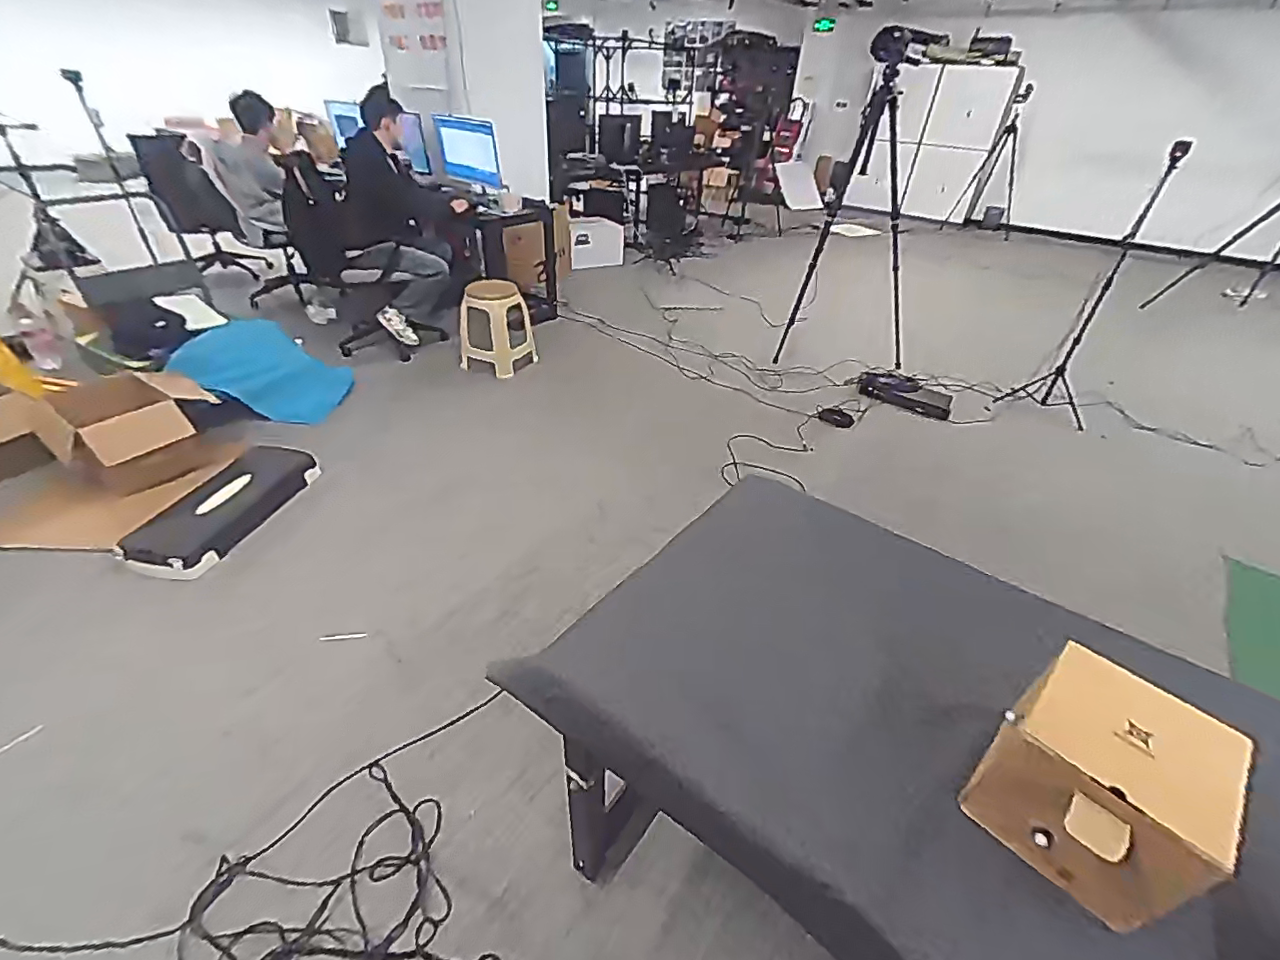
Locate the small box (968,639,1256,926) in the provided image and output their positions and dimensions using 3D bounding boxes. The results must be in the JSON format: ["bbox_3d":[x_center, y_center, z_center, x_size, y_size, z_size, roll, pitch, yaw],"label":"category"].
[{"bbox_3d":[0.492,0.317,0.583,0.179,0.176,0.168,-27,46,-35],"label":"small box"}]
